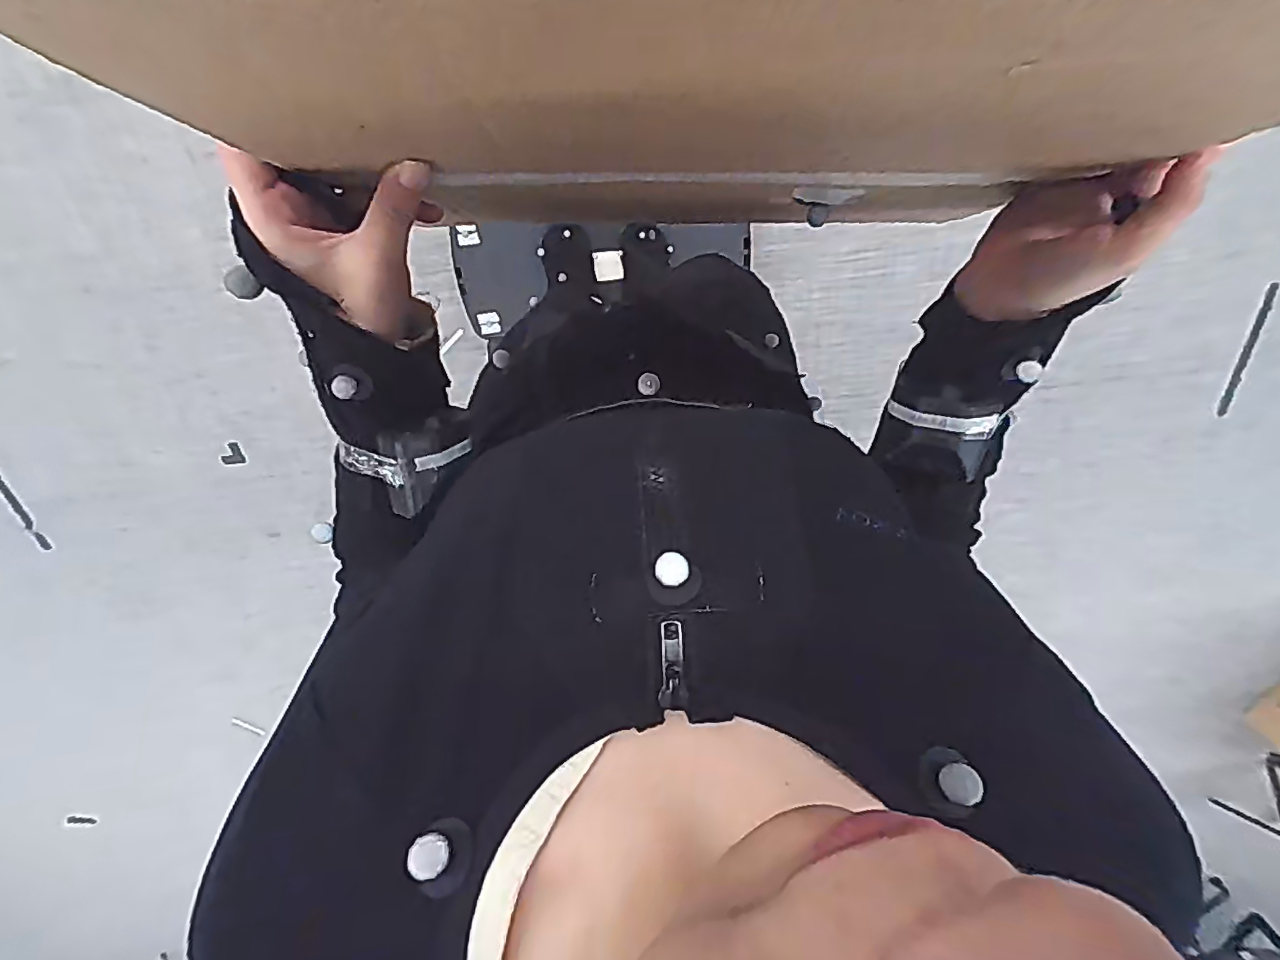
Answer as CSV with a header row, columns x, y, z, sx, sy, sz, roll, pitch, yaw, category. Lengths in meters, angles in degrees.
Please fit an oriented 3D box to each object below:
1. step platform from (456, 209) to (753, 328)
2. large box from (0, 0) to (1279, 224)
x,y,z,sx,sy,sz,roll,pitch,yaw,category
-0.079,-0.524,1.285,0.684,0.204,0.286,-2,119,-2,step platform
0.021,-0.302,0.217,0.408,0.320,0.320,-3,108,-1,large box
